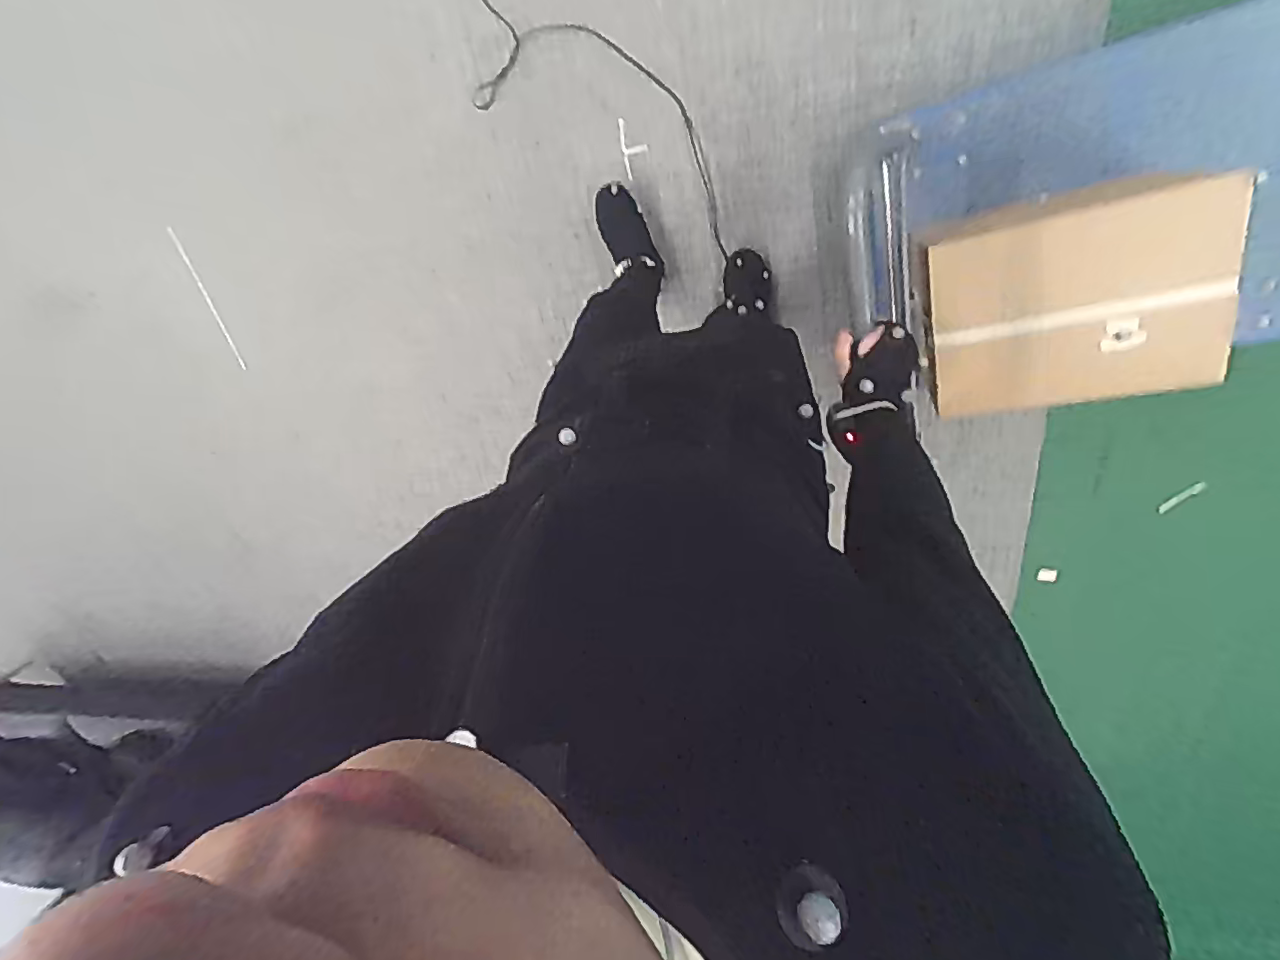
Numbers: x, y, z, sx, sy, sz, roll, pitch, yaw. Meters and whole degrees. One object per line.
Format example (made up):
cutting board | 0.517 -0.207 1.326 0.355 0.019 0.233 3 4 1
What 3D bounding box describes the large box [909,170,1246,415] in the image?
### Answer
large box | 0.755 -0.348 1.017 0.408 0.320 0.320 -6 116 23
